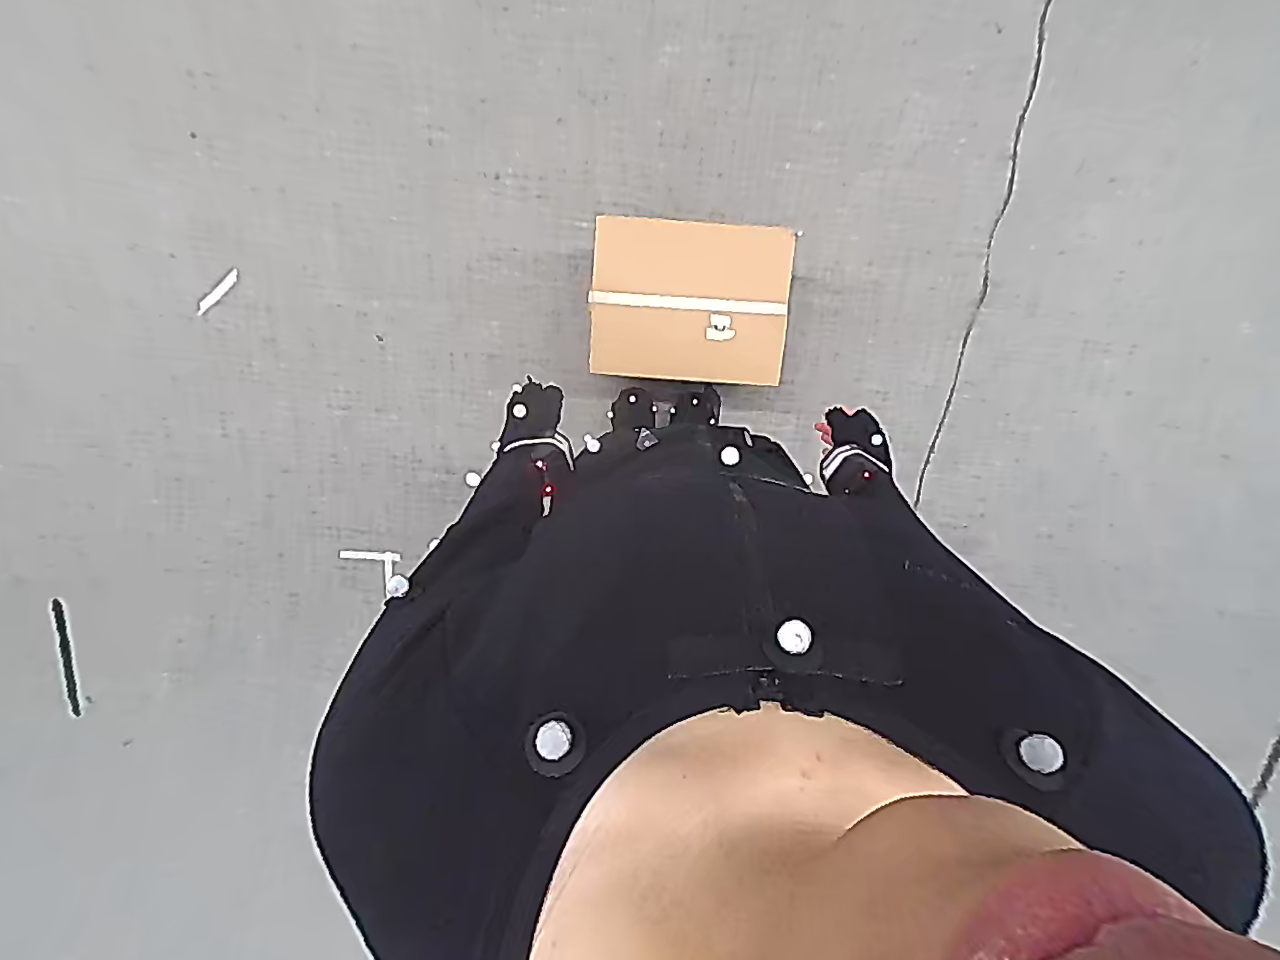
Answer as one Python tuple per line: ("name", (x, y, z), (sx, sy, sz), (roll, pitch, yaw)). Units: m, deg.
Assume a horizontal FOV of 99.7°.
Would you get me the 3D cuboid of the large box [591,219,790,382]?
("large box", (0.098, -0.398, 1.267), (0.408, 0.320, 0.320), (3, 103, -1))
